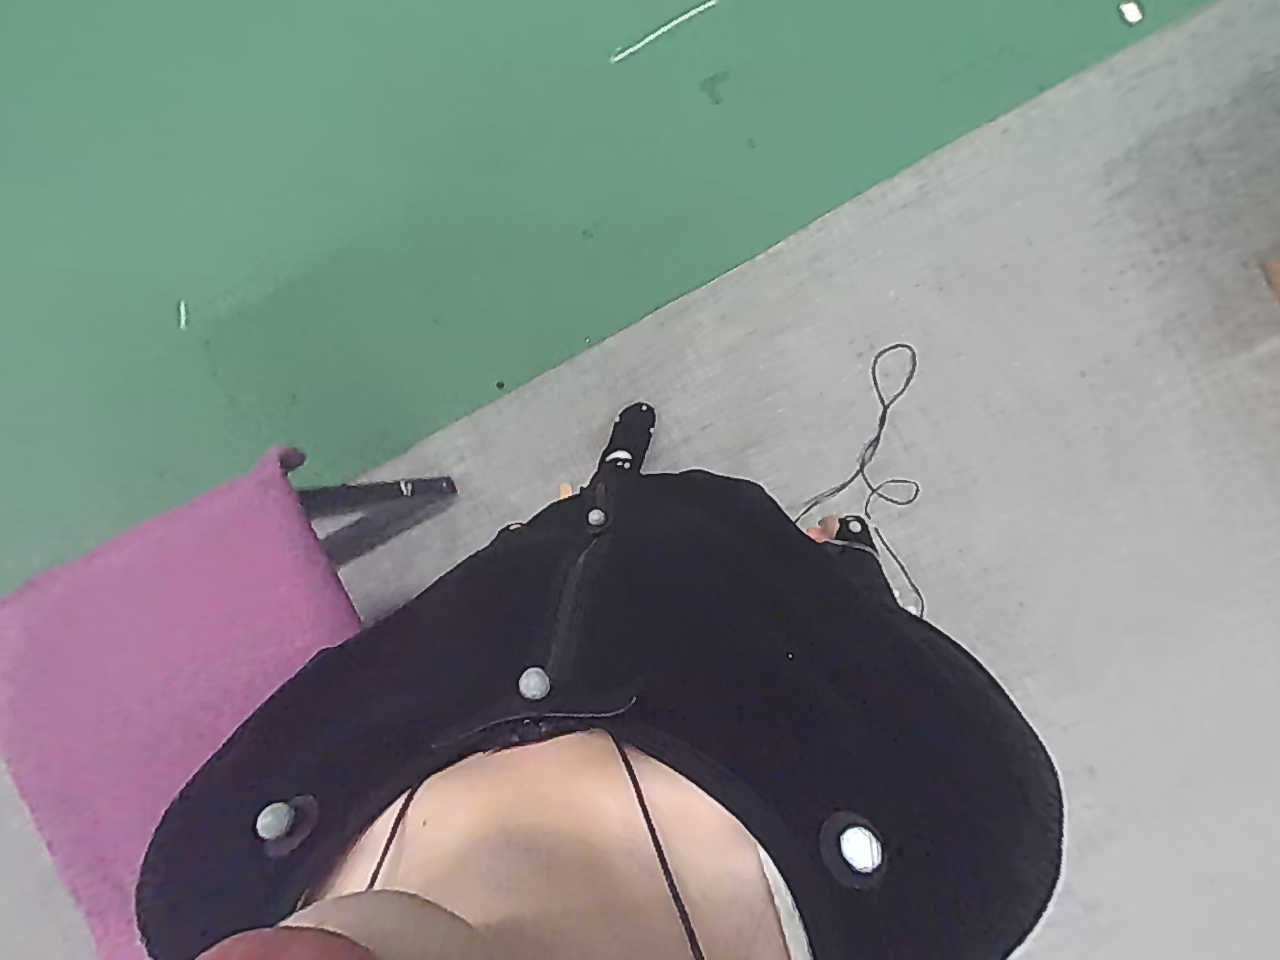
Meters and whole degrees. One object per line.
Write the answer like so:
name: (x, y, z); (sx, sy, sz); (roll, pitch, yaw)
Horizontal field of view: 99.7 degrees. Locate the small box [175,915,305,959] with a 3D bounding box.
small box: (-0.491, 0.645, 0.604); (0.179, 0.176, 0.168); (-26, 90, 7)
